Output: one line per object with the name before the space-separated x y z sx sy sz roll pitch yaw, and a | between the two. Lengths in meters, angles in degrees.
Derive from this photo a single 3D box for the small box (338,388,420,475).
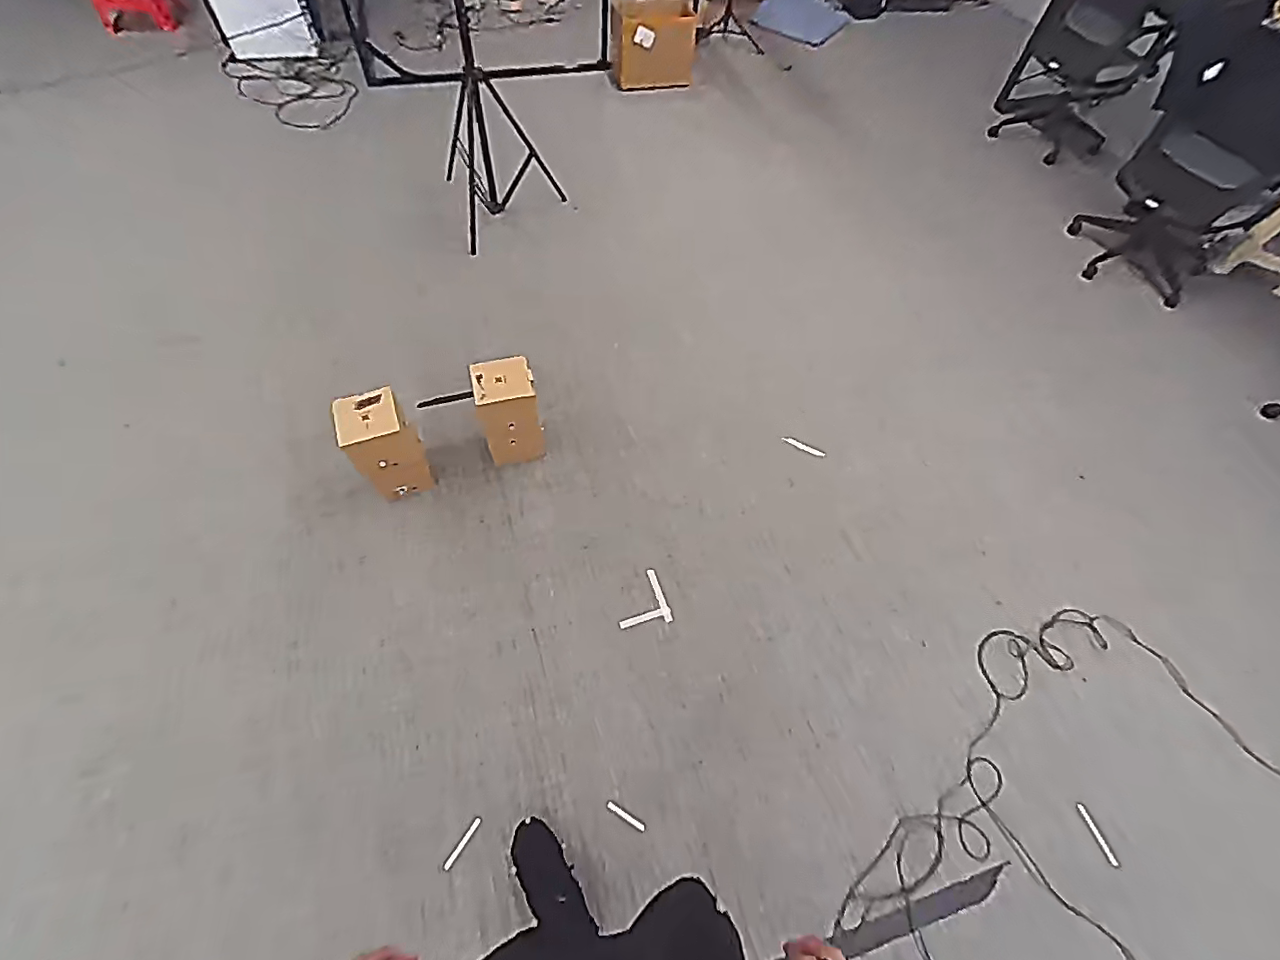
small box | -0.774 -0.142 1.612 0.168 0.176 0.179 -17 62 -13

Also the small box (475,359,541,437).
small box | -0.412 -0.256 1.705 0.179 0.176 0.168 -11 60 -12

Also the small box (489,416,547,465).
small box | -0.422 -0.170 1.844 0.179 0.176 0.168 -12 61 -12

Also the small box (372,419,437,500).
small box | -0.777 -0.064 1.756 0.168 0.176 0.179 -19 62 -14
